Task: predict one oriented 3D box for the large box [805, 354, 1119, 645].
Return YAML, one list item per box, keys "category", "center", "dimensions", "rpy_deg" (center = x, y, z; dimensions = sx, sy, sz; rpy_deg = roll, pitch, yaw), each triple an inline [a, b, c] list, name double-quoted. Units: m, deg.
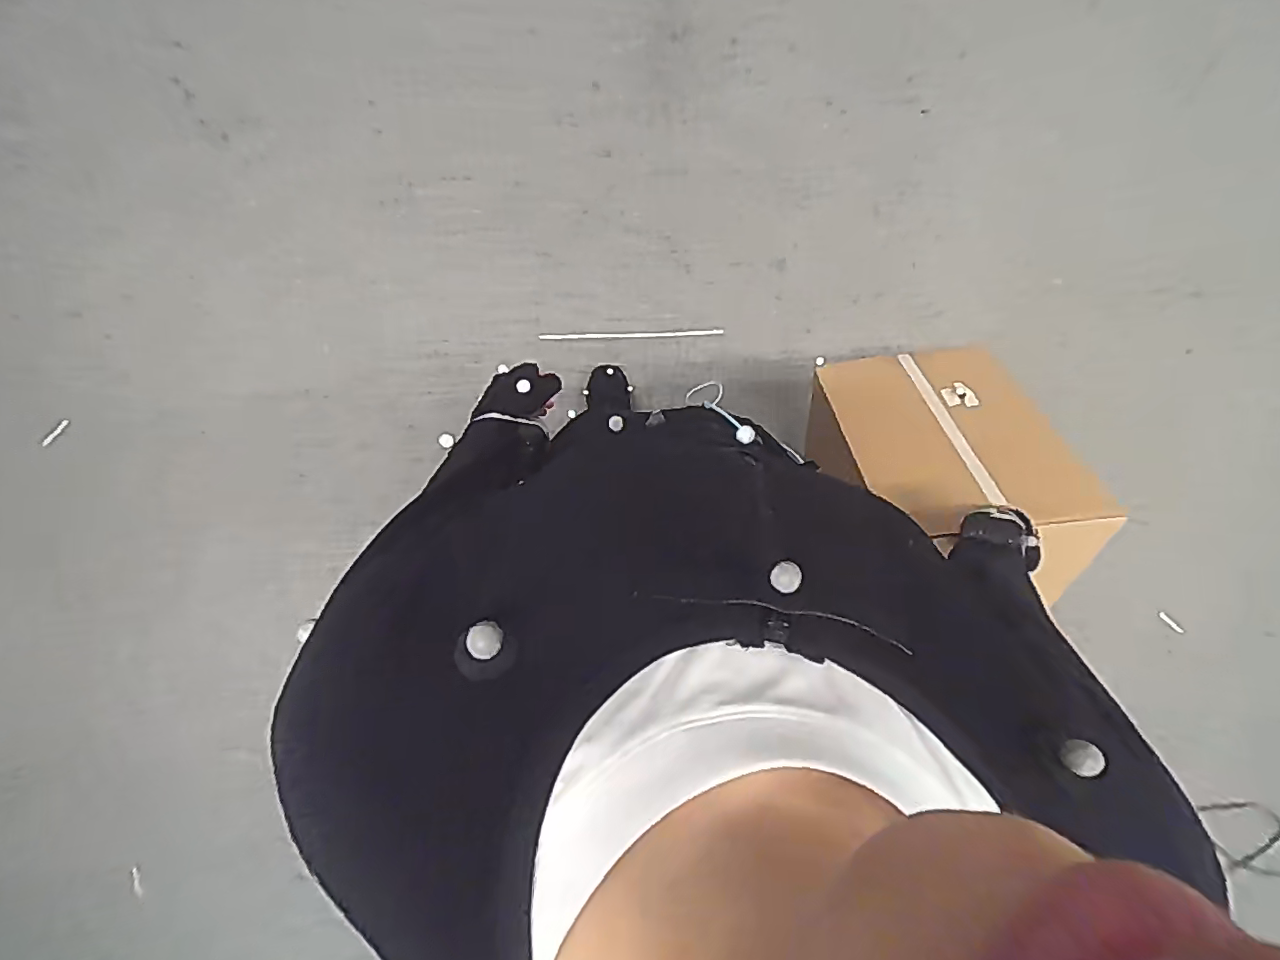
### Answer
- category: "large box"
  center: [0.509, 0.031, 0.977]
  dimensions: [0.320, 0.408, 0.320]
  rpy_deg: [-7, 136, 4]
